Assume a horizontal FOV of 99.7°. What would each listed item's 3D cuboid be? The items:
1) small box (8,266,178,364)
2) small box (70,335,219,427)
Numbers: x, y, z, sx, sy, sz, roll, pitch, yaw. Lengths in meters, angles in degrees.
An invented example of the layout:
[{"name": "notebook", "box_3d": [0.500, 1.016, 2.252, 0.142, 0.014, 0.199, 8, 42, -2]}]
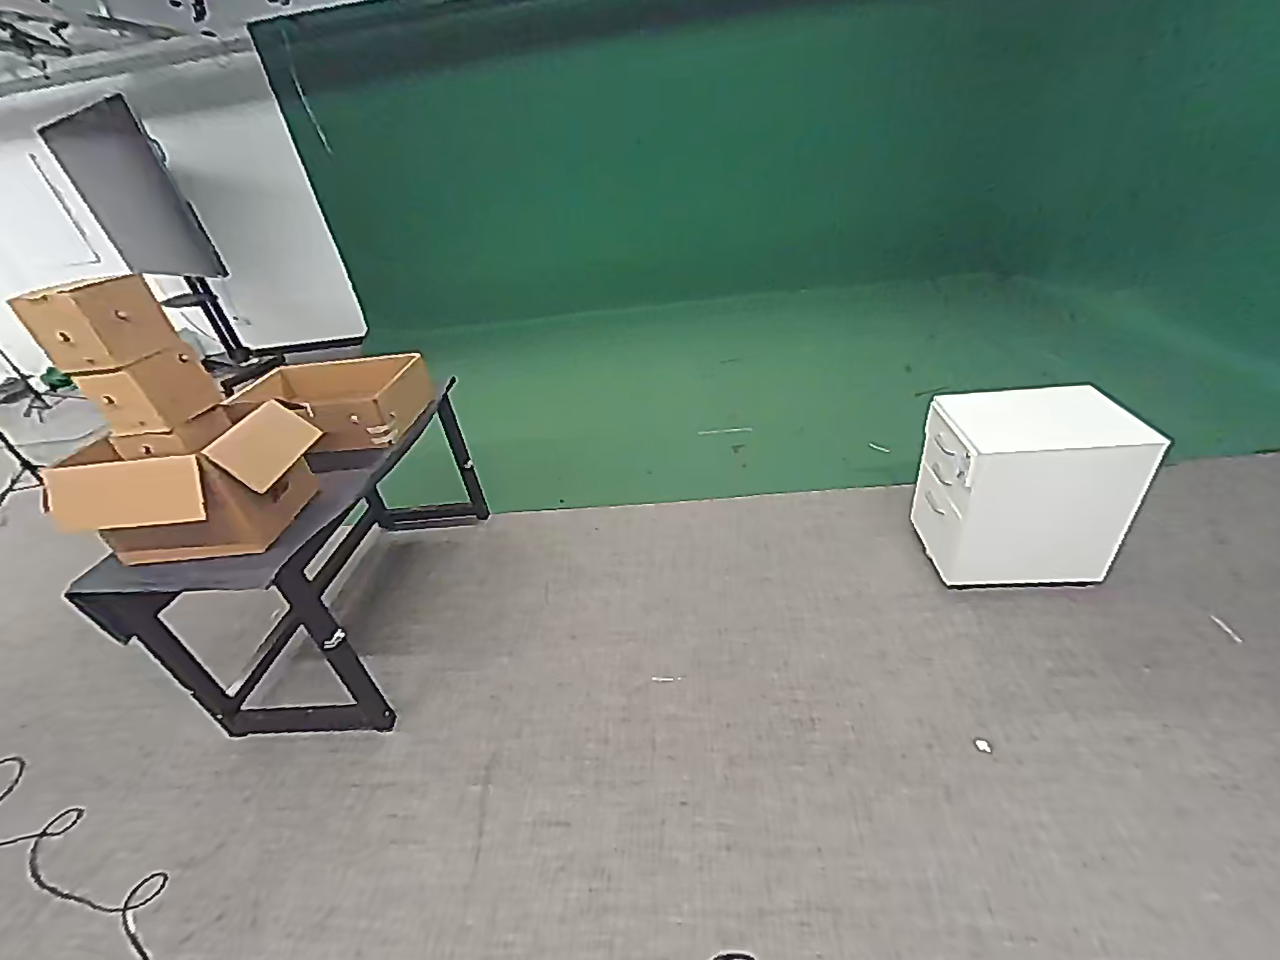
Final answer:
[{"name": "small box", "box_3d": [-1.218, -0.368, 1.224, 0.168, 0.176, 0.179, -2, 34, 10]}, {"name": "small box", "box_3d": [-1.193, -0.238, 1.321, 0.168, 0.176, 0.179, -1, 34, 11]}]
